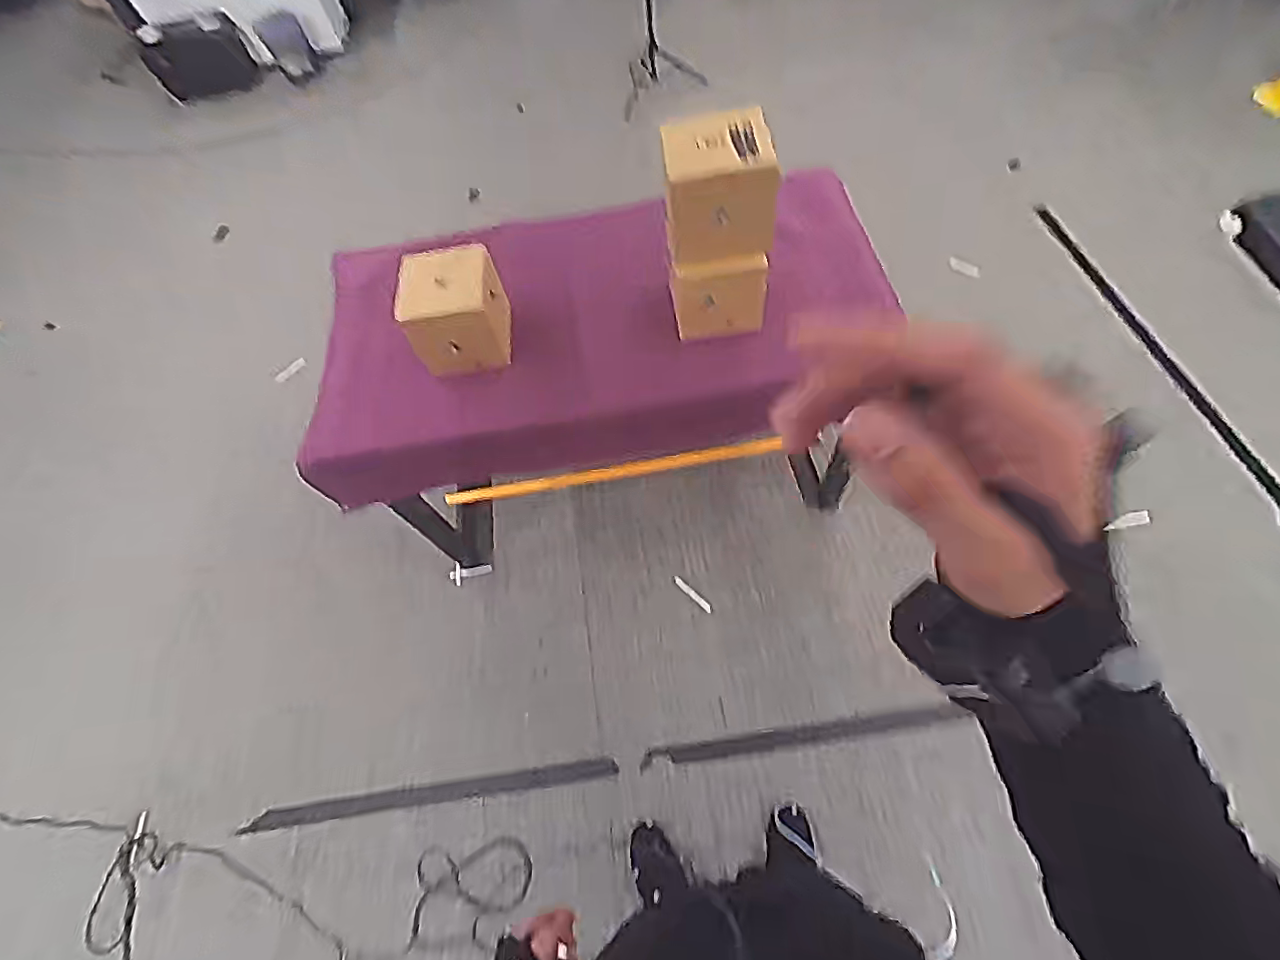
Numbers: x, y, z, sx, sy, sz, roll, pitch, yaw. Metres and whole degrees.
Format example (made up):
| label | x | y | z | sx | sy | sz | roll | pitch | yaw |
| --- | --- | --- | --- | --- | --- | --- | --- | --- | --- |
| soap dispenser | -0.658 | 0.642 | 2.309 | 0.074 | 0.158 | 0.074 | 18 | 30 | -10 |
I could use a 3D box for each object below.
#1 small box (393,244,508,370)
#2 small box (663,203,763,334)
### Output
| label | x | y | z | sx | sy | sz | roll | pitch | yaw |
| --- | --- | --- | --- | --- | --- | --- | --- | --- | --- |
| small box | -0.373 | -0.340 | 1.096 | 0.168 | 0.176 | 0.179 | -8 | 62 | 2 |
| small box | 0.142 | -0.410 | 1.077 | 0.168 | 0.176 | 0.179 | -8 | 61 | 3 |
